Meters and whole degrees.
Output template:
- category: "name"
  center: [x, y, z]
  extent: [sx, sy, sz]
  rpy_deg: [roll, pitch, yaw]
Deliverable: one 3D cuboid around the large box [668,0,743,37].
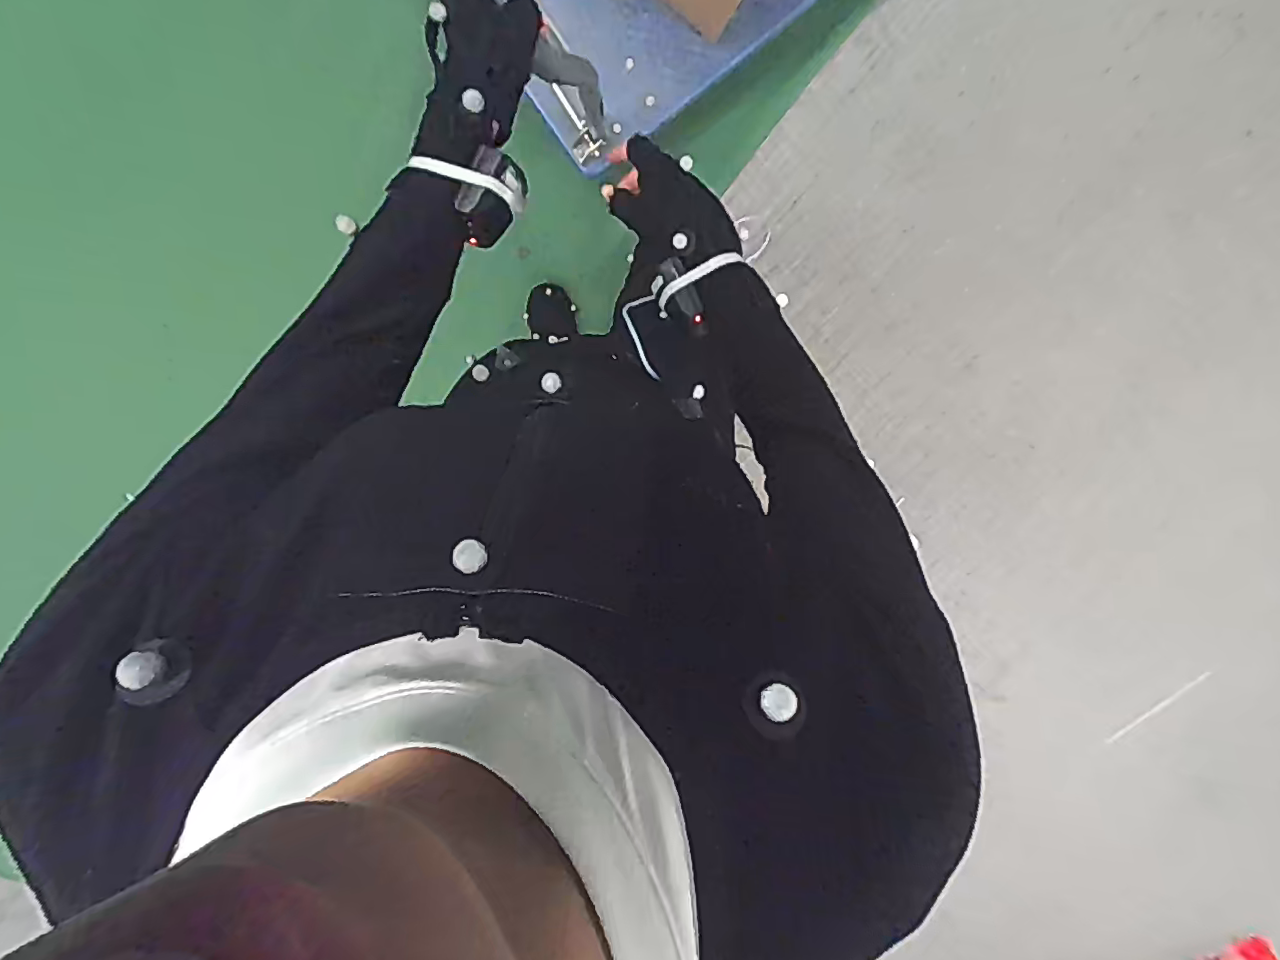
- category: "large box"
  center: [0.067, -0.977, 0.785]
  extent: [0.408, 0.320, 0.320]
  rpy_deg: [30, 108, -15]
